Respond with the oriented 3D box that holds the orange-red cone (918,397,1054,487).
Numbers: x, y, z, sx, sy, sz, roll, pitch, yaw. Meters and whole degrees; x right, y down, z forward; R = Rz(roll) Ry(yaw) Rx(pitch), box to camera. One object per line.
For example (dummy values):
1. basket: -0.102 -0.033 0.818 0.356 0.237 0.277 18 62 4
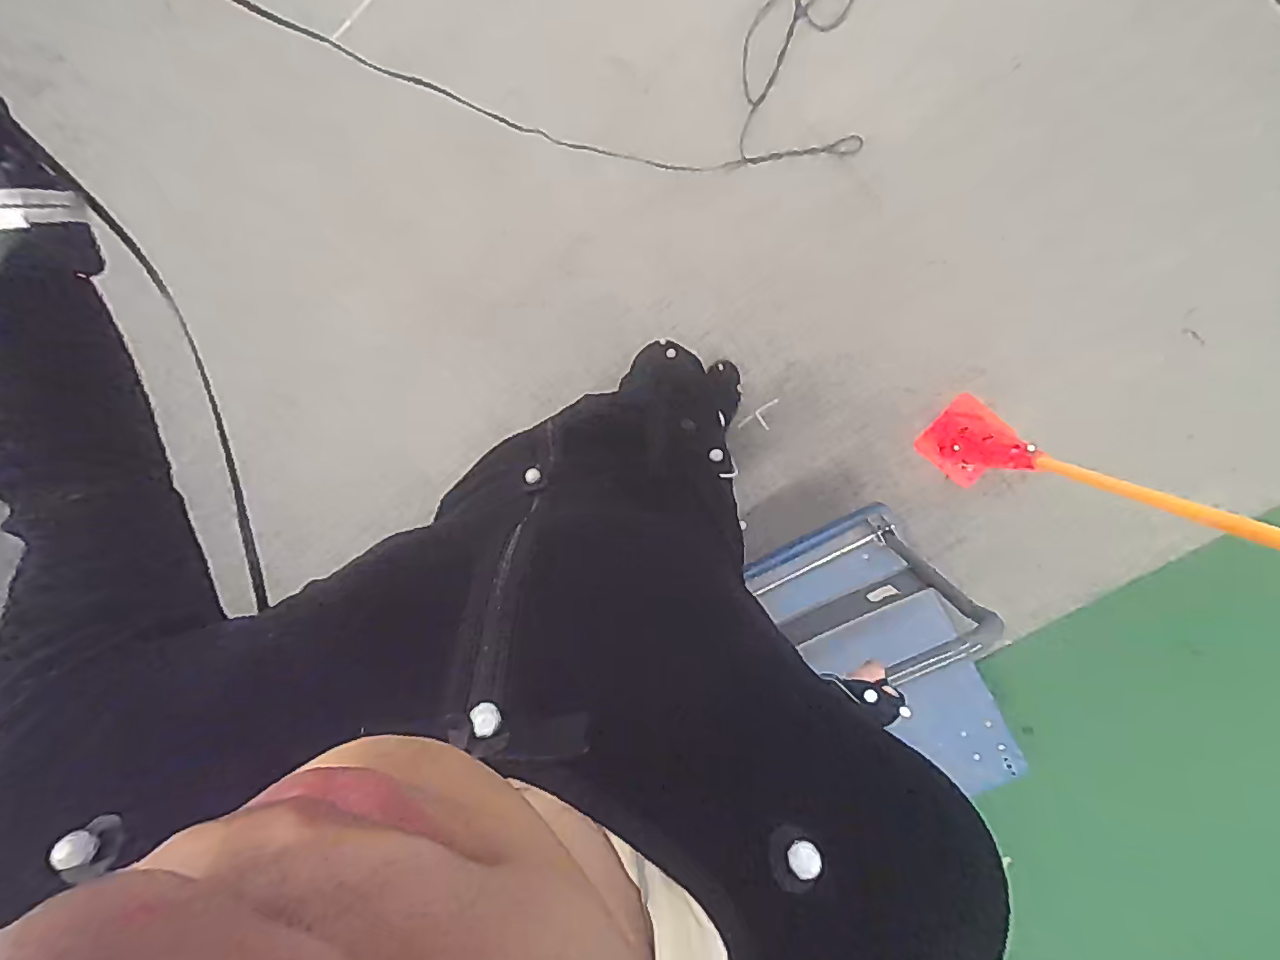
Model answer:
1. orange-red cone: 0.878 -0.070 1.317 0.198 0.360 0.199 40 102 -3
